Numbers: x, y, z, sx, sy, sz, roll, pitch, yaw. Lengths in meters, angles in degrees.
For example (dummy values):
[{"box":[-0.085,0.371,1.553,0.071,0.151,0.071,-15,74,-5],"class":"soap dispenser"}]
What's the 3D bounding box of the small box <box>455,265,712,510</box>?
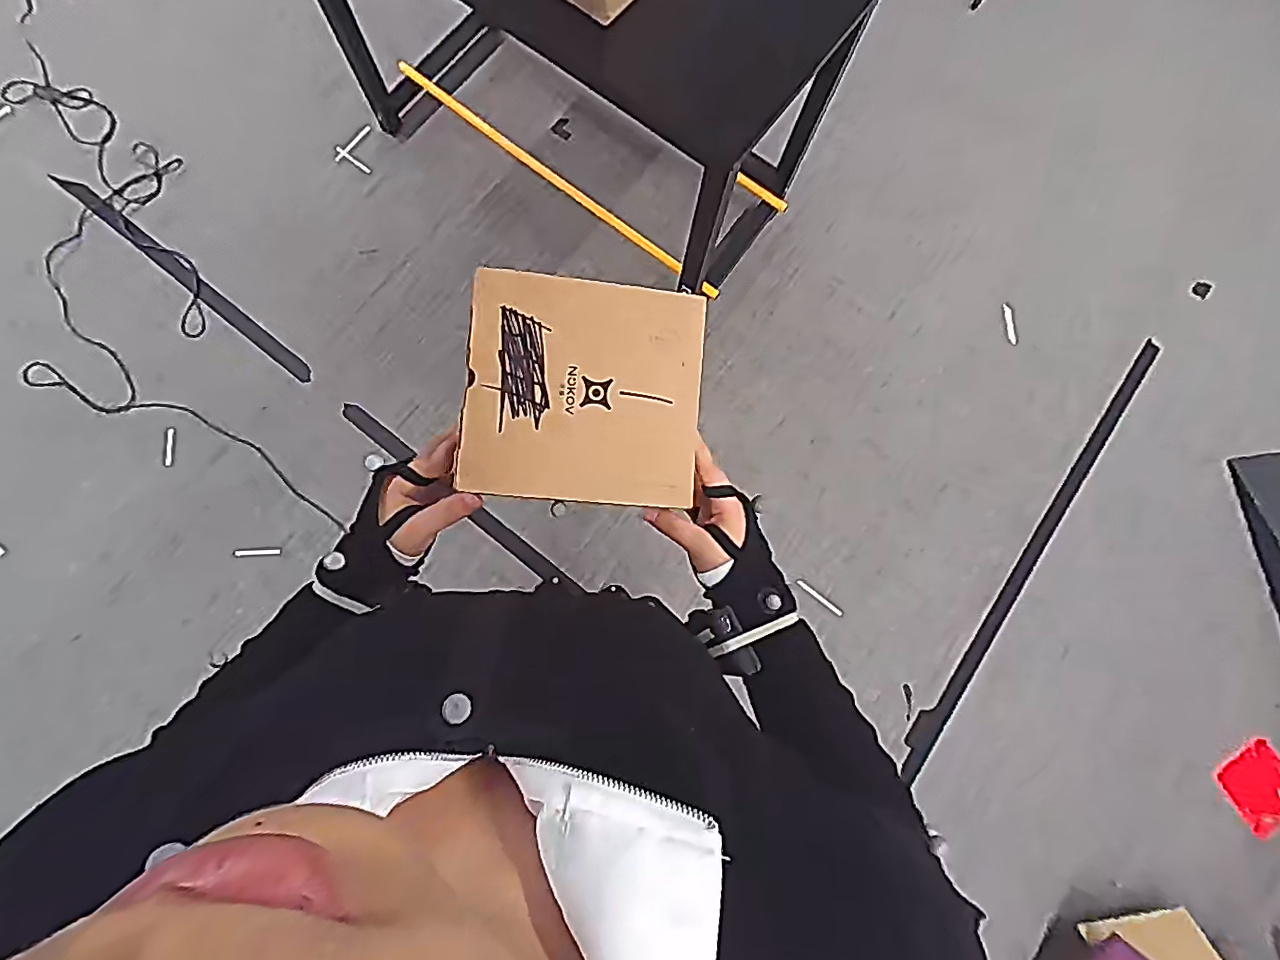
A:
[{"box":[-0.048,-0.062,0.471,0.179,0.176,0.168,5,87,-8],"class":"small box"}]
